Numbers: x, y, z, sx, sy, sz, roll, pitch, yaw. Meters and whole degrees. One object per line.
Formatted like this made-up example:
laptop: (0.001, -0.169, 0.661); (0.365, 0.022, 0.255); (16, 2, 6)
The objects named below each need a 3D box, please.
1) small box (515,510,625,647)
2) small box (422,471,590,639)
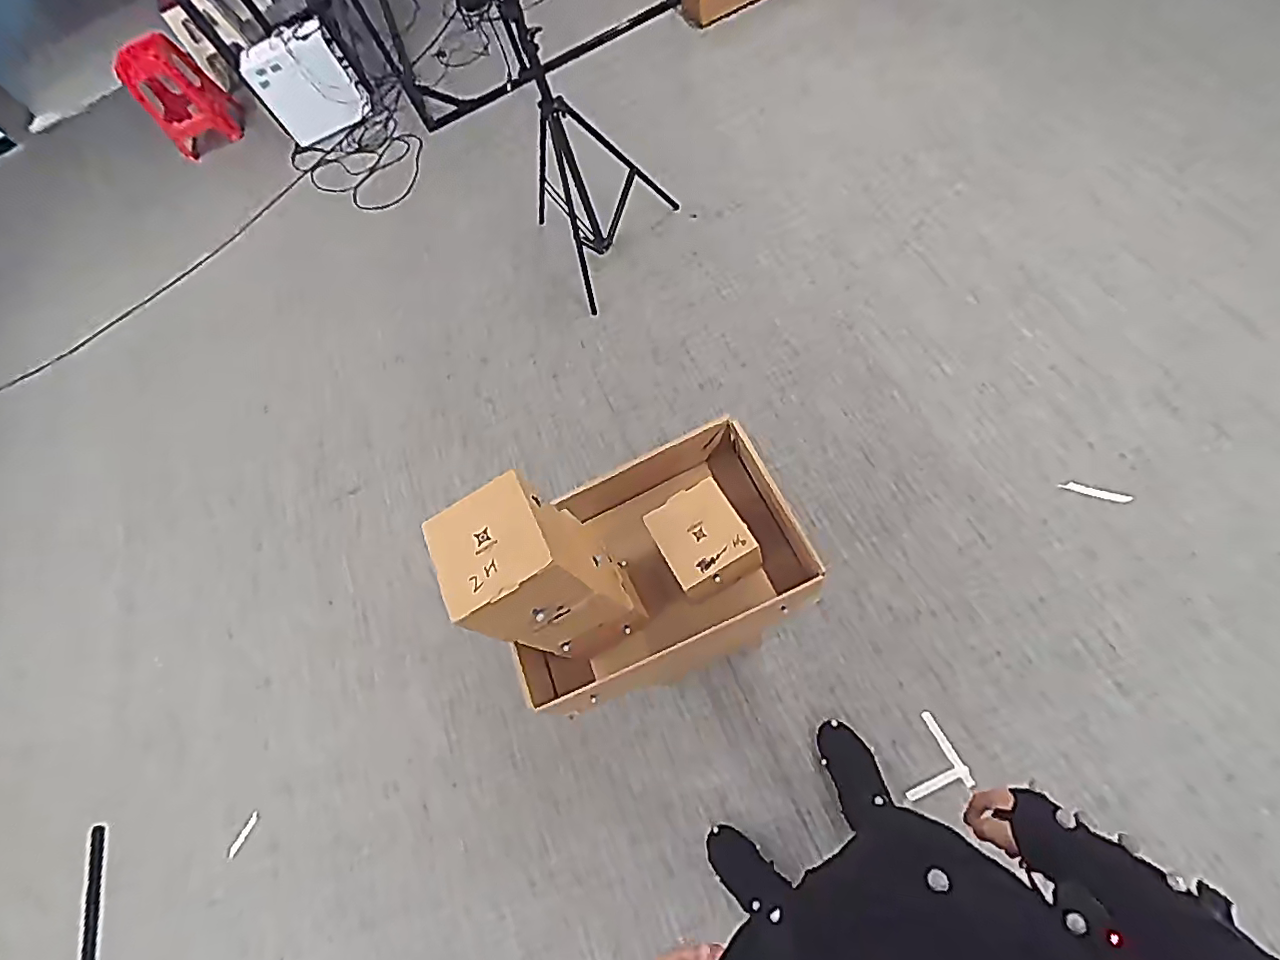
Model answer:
small box: (-0.146, 0.188, 0.981); (0.168, 0.176, 0.179); (-29, 61, 1)
small box: (-0.202, 0.122, 0.839); (0.168, 0.176, 0.179); (-31, 61, 1)
